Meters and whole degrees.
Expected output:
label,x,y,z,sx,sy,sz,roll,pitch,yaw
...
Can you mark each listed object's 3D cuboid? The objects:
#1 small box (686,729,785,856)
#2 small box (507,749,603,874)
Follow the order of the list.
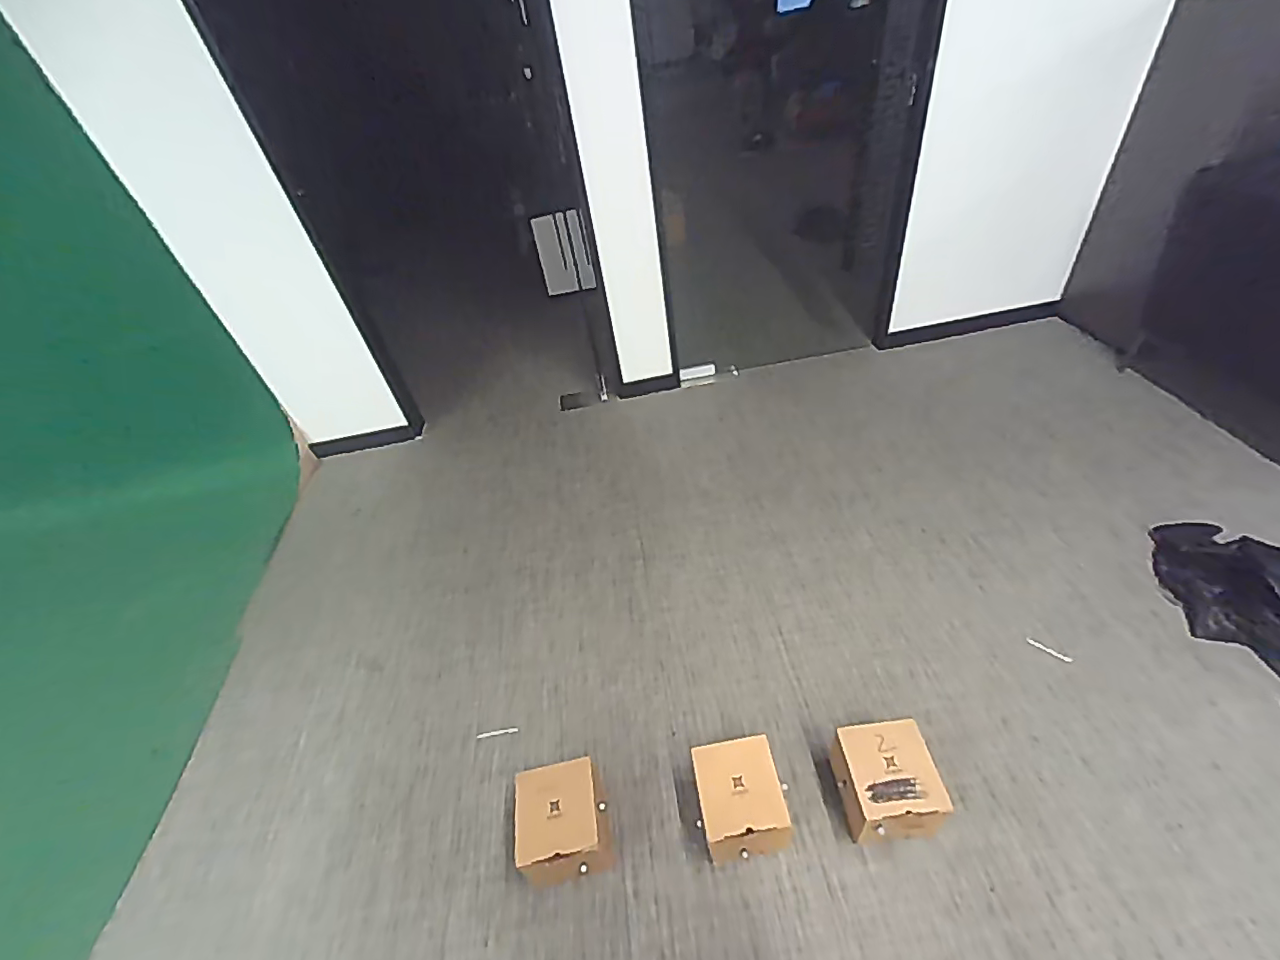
label,x,y,z,sx,sy,sz,roll,pitch,yaw
small box,0.193,0.655,1.135,0.168,0.176,0.179,-10,43,-1
small box,-0.178,0.708,1.147,0.168,0.176,0.179,-12,42,-3
